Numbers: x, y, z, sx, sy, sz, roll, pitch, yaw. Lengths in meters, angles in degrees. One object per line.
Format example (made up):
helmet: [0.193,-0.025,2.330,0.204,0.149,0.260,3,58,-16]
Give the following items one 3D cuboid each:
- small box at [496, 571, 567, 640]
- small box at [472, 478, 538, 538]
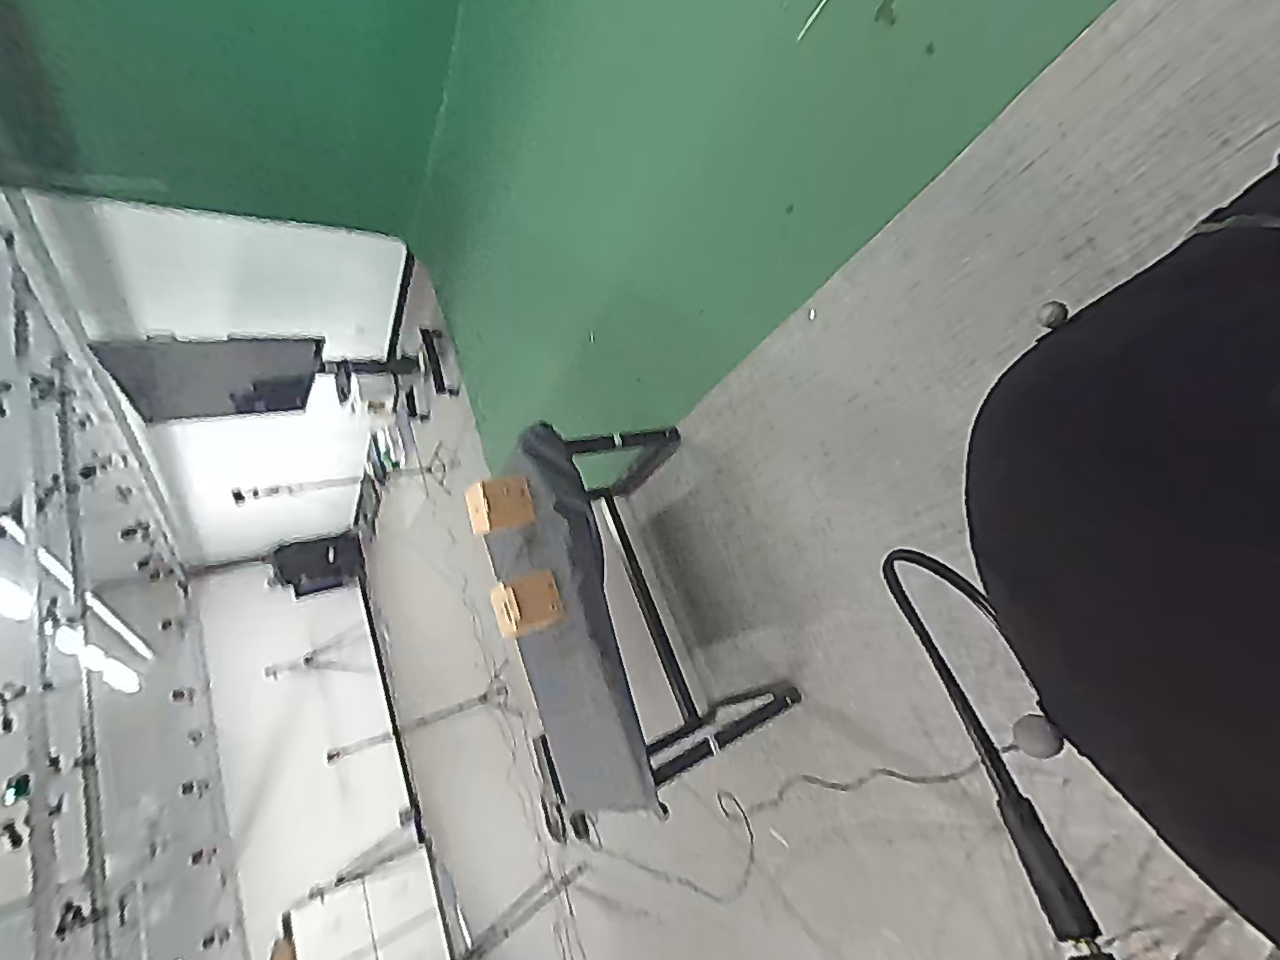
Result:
small box: [-0.360,0.419,1.813,0.179,0.176,0.168,-42,64,51]
small box: [-0.466,0.096,1.886,0.179,0.176,0.168,-23,78,56]
